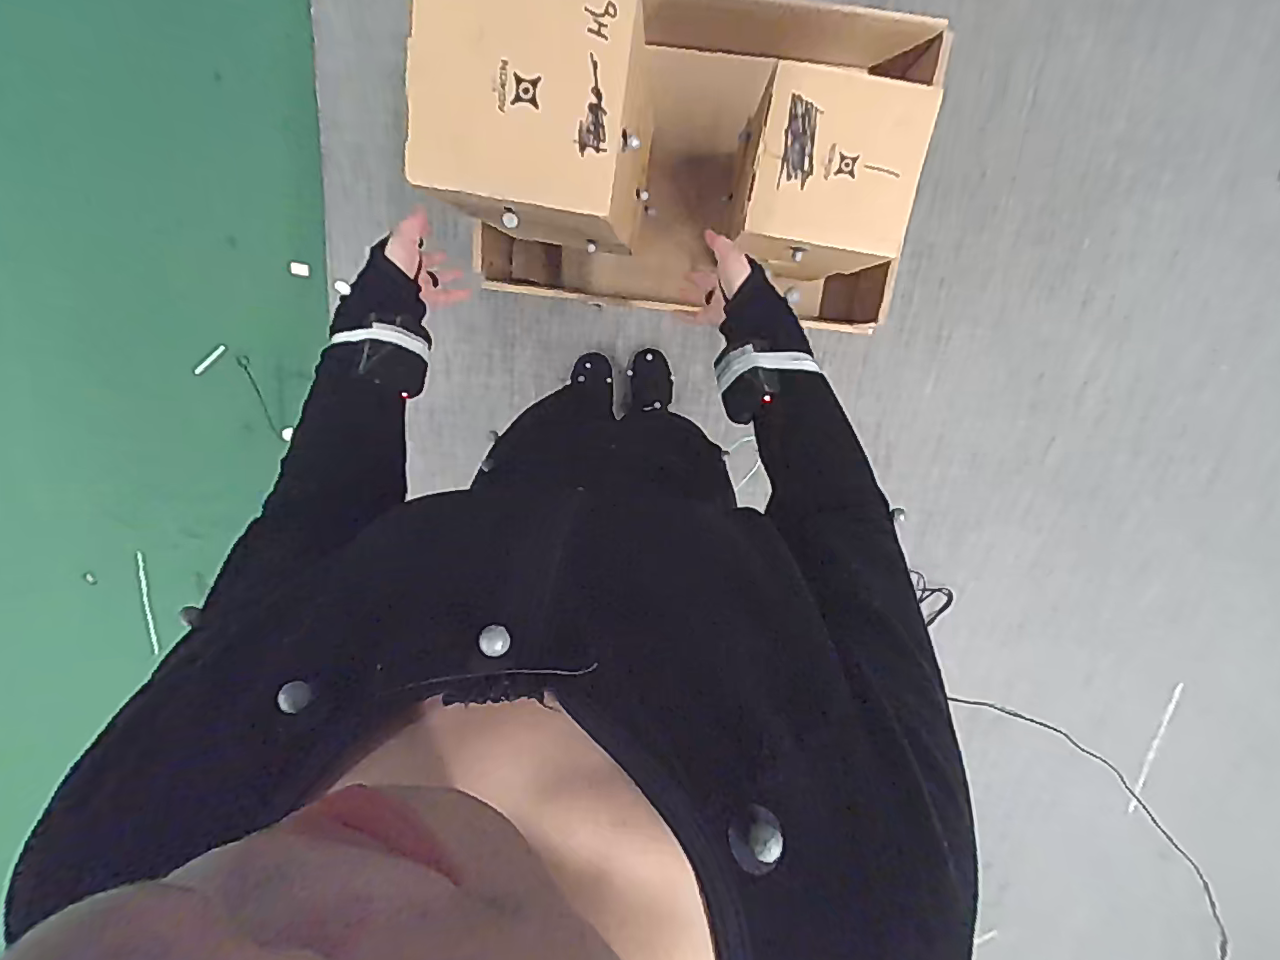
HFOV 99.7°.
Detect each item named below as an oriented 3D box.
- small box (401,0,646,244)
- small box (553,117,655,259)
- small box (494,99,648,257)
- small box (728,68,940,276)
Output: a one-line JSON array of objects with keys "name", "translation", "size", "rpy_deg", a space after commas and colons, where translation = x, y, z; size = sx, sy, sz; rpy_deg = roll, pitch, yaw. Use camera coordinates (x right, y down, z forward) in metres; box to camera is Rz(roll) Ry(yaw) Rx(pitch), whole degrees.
[{"name": "small box", "translation": [-0.096, -0.330, 0.506], "size": [0.179, 0.176, 0.168], "rpy_deg": [11, 106, 0]}, {"name": "small box", "translation": [-0.077, -0.438, 0.815], "size": [0.179, 0.176, 0.168], "rpy_deg": [9, 107, 0]}, {"name": "small box", "translation": [-0.089, -0.380, 0.663], "size": [0.179, 0.176, 0.168], "rpy_deg": [9, 106, -1]}, {"name": "small box", "translation": [0.212, -0.350, 0.650], "size": [0.179, 0.176, 0.168], "rpy_deg": [10, 106, -1]}]
